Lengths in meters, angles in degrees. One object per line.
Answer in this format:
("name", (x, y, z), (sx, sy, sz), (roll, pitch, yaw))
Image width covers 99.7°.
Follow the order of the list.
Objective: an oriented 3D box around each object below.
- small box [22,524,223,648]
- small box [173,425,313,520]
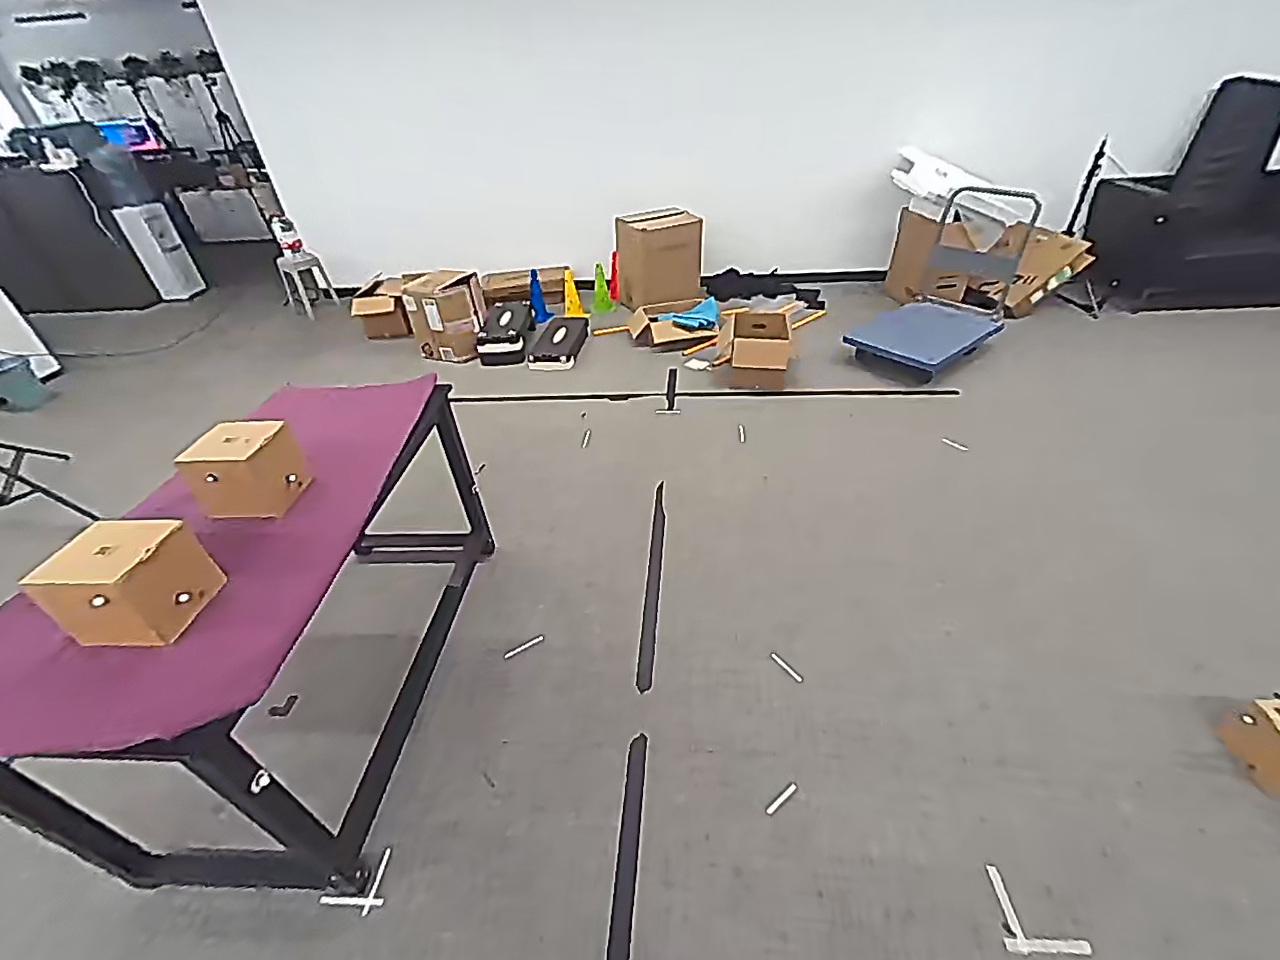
("small box", (-0.949, 0.199, 1.013), (0.179, 0.176, 0.168), (-1, 36, 3))
("small box", (-0.936, -0.017, 1.293), (0.179, 0.176, 0.168), (-1, 38, 4))
